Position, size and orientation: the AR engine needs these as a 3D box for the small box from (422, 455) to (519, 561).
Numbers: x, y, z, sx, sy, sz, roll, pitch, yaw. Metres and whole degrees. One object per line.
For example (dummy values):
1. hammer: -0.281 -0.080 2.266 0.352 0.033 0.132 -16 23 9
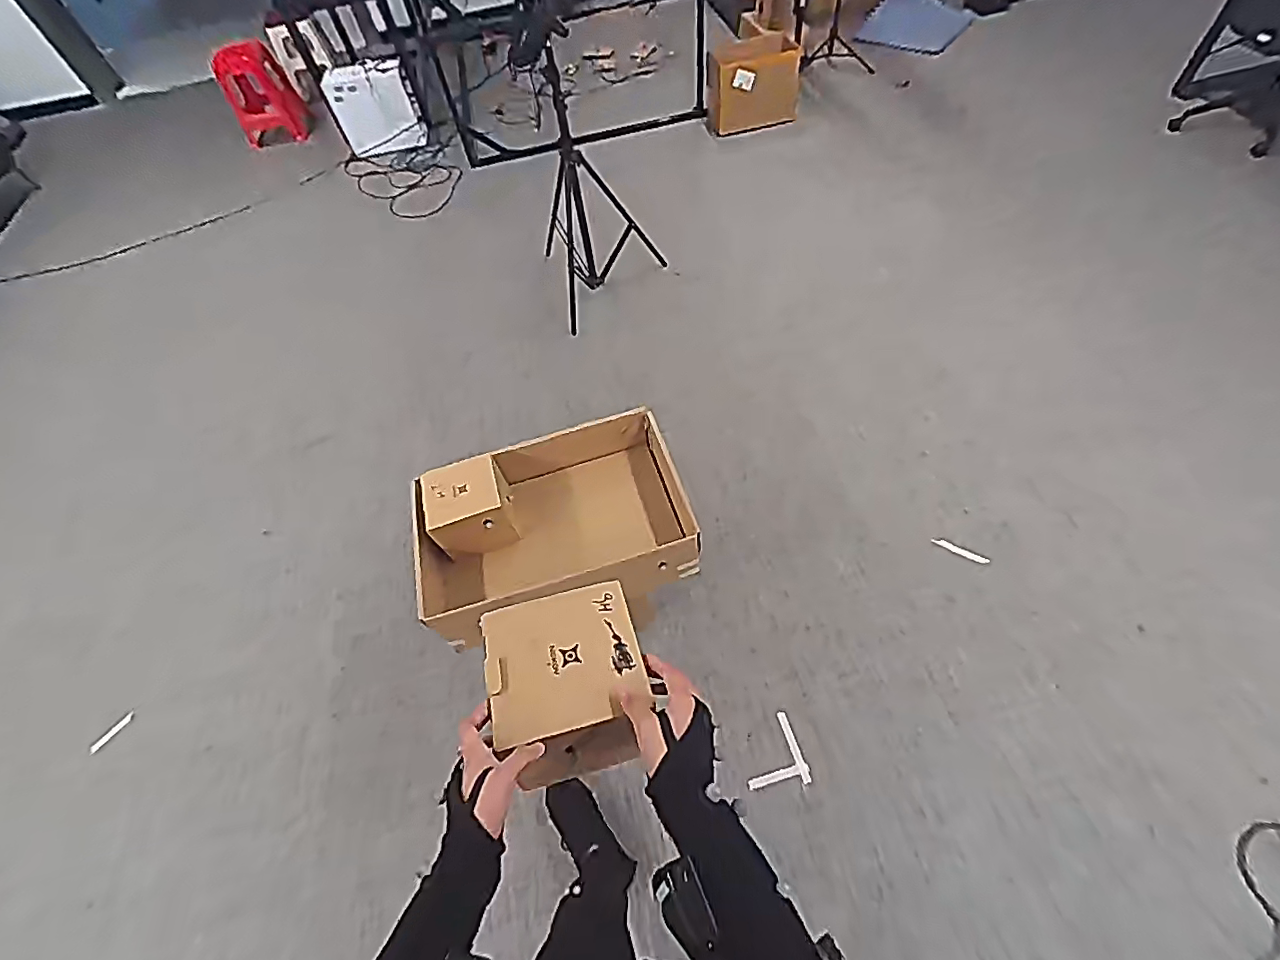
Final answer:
1. small box: -0.405 0.072 1.313 0.179 0.176 0.168 -19 56 -5

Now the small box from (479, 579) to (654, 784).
1. small box: -0.088 0.254 0.674 0.179 0.176 0.168 -13 49 -8
